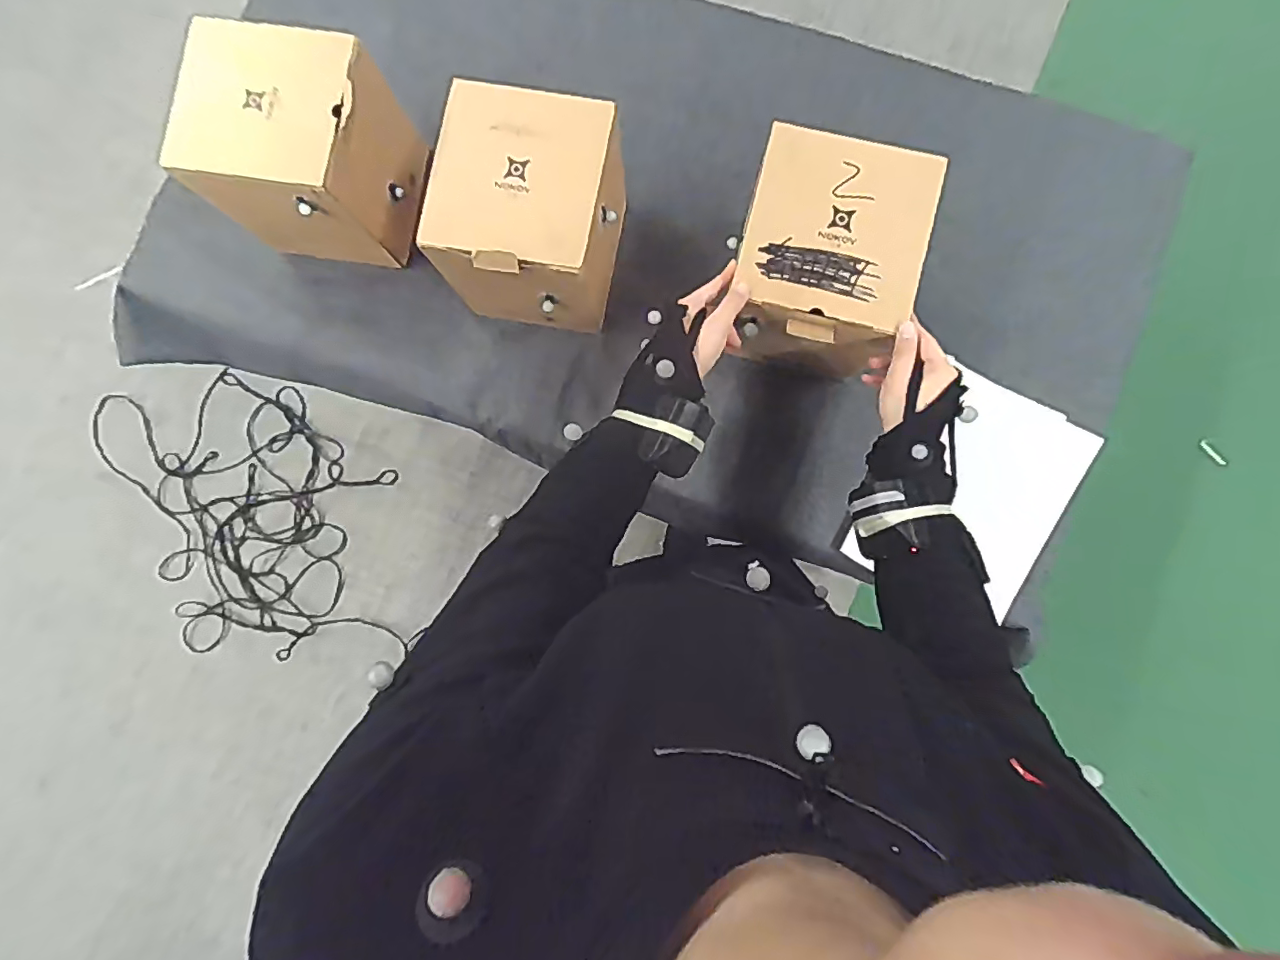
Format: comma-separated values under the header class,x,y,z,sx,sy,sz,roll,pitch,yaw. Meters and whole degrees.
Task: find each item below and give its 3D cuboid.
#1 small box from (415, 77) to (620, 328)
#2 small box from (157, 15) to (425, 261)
class,x,y,z,sx,sy,sz,roll,pitch,yaw
small box,-0.118,-0.288,0.597,0.168,0.176,0.179,10,84,2
small box,-0.376,-0.371,0.615,0.179,0.176,0.168,8,85,3
